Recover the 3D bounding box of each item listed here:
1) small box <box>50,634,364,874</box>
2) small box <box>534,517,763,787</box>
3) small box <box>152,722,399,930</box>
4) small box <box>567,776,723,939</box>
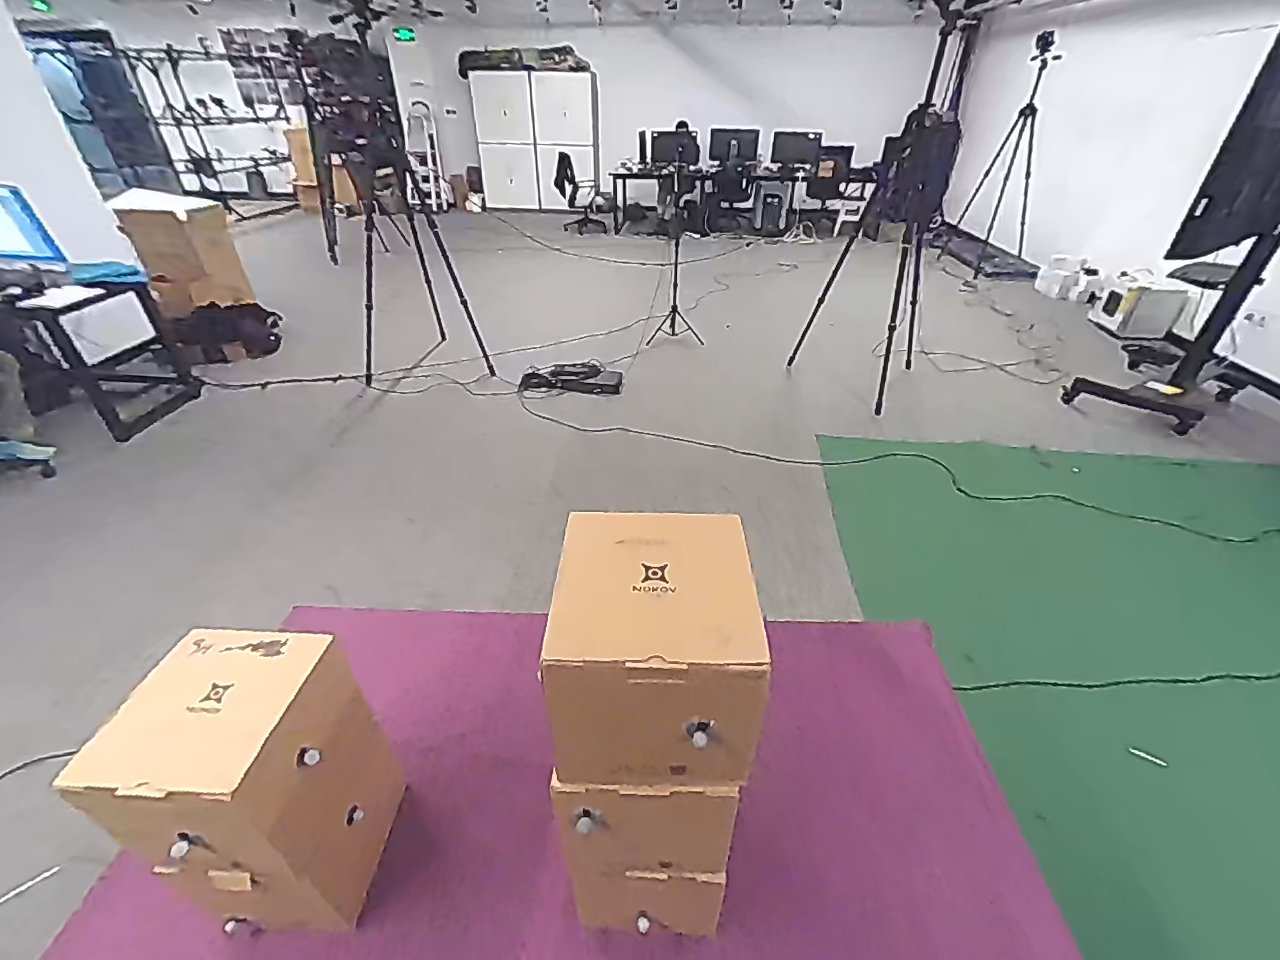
[{"bbox_3d":[-0.427,0.291,0.578,0.168,0.176,0.179,2,36,2],"label":"small box"},{"bbox_3d":[0.009,0.152,0.491,0.168,0.176,0.179,1,34,1],"label":"small box"},{"bbox_3d":[-0.424,0.426,0.671,0.168,0.176,0.179,1,34,0],"label":"small box"},{"bbox_3d":[0.010,0.426,0.671,0.168,0.176,0.179,2,35,4],"label":"small box"}]
